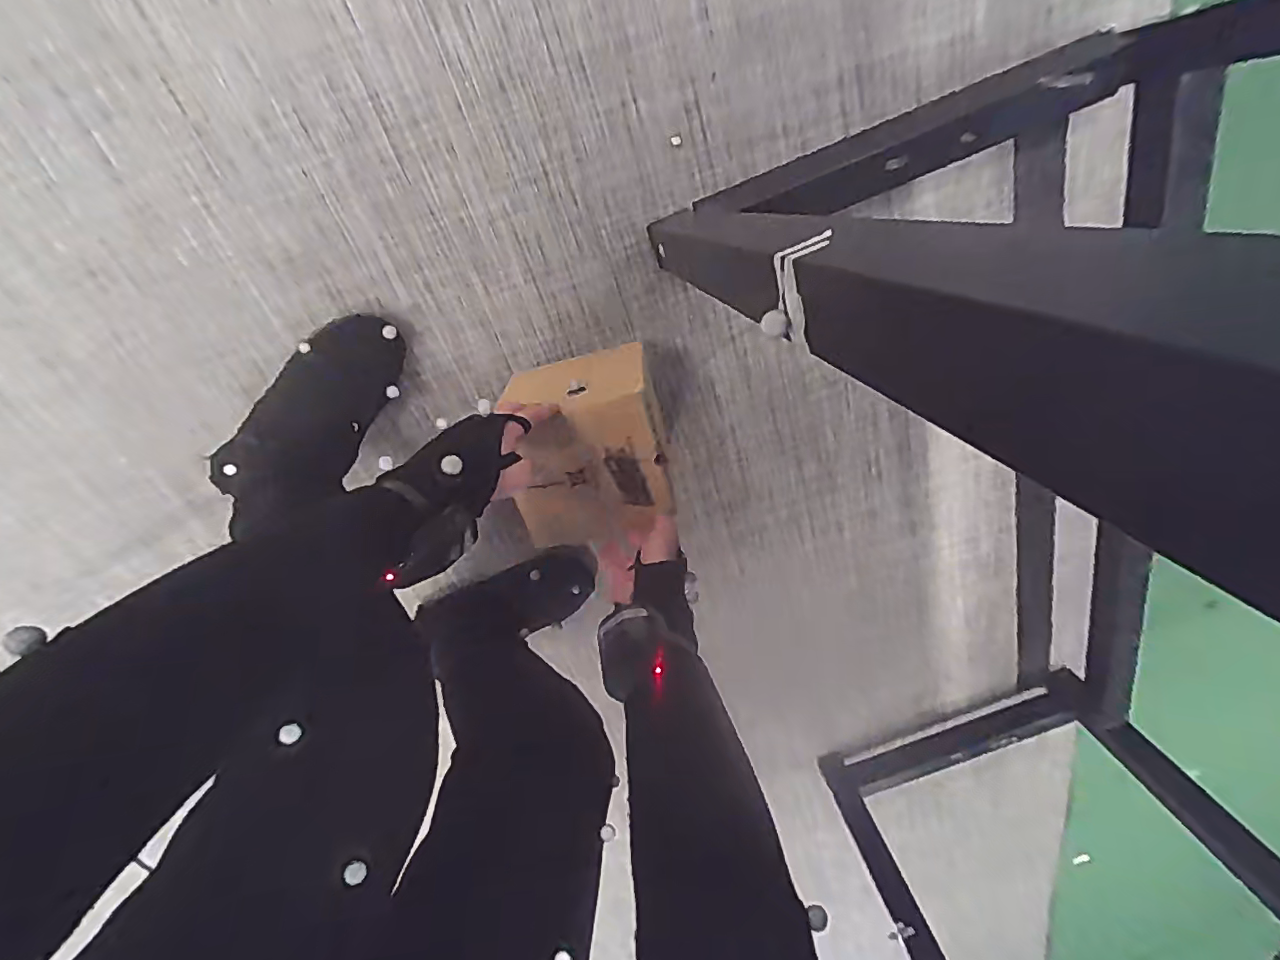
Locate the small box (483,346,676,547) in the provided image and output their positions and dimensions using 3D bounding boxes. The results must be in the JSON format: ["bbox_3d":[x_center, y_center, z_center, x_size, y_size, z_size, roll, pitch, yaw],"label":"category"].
[{"bbox_3d":[-0.067,-0.049,0.666,0.179,0.176,0.168,-16,118,5],"label":"small box"}]
